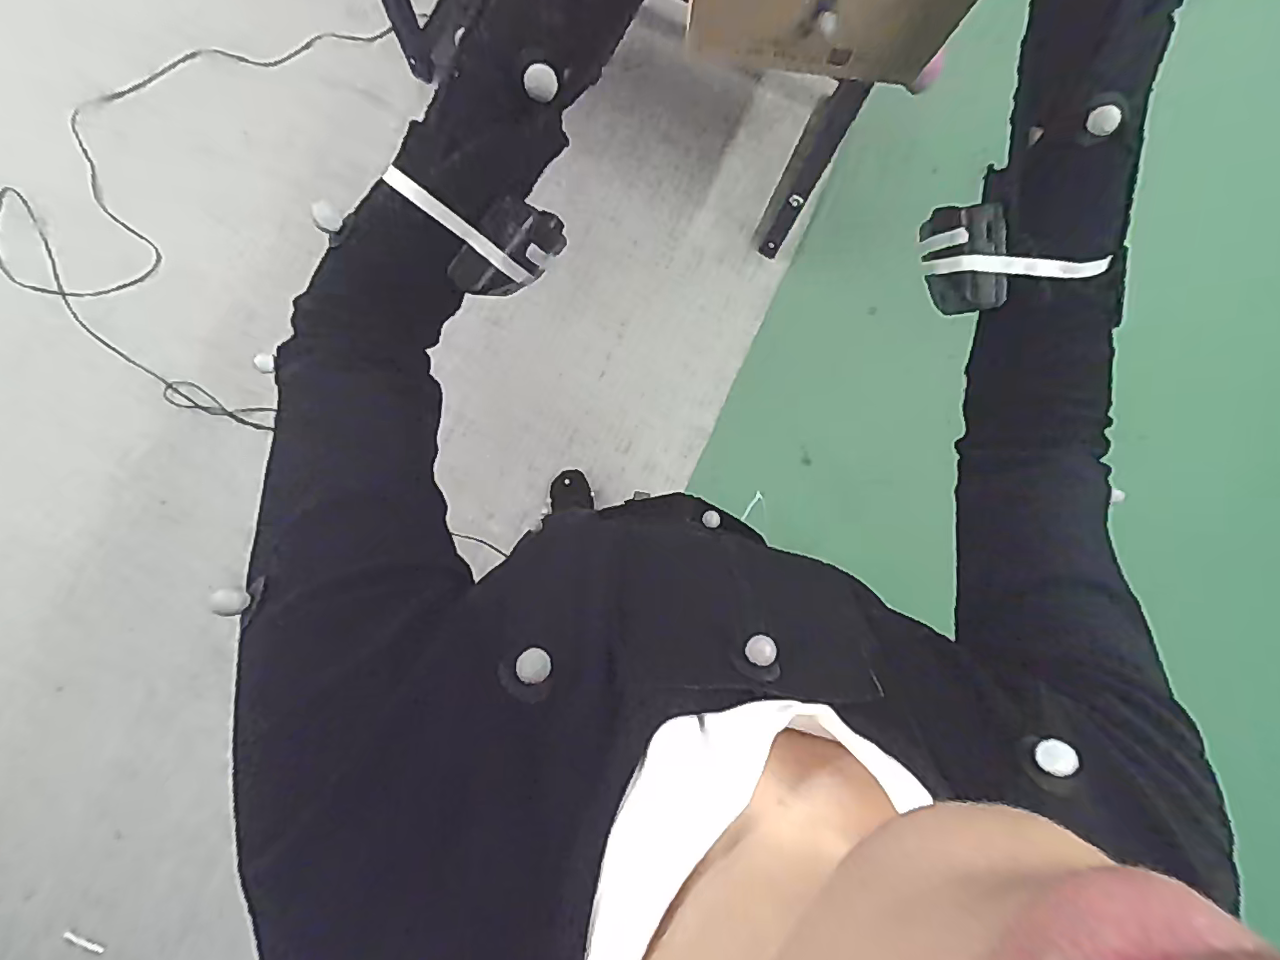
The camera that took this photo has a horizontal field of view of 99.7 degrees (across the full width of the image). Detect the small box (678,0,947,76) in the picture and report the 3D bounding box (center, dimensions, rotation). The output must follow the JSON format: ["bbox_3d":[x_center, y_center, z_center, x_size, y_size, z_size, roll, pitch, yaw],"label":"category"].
[{"bbox_3d":[0.115,-0.380,0.302,0.168,0.176,0.179,5,92,-1],"label":"small box"}]
